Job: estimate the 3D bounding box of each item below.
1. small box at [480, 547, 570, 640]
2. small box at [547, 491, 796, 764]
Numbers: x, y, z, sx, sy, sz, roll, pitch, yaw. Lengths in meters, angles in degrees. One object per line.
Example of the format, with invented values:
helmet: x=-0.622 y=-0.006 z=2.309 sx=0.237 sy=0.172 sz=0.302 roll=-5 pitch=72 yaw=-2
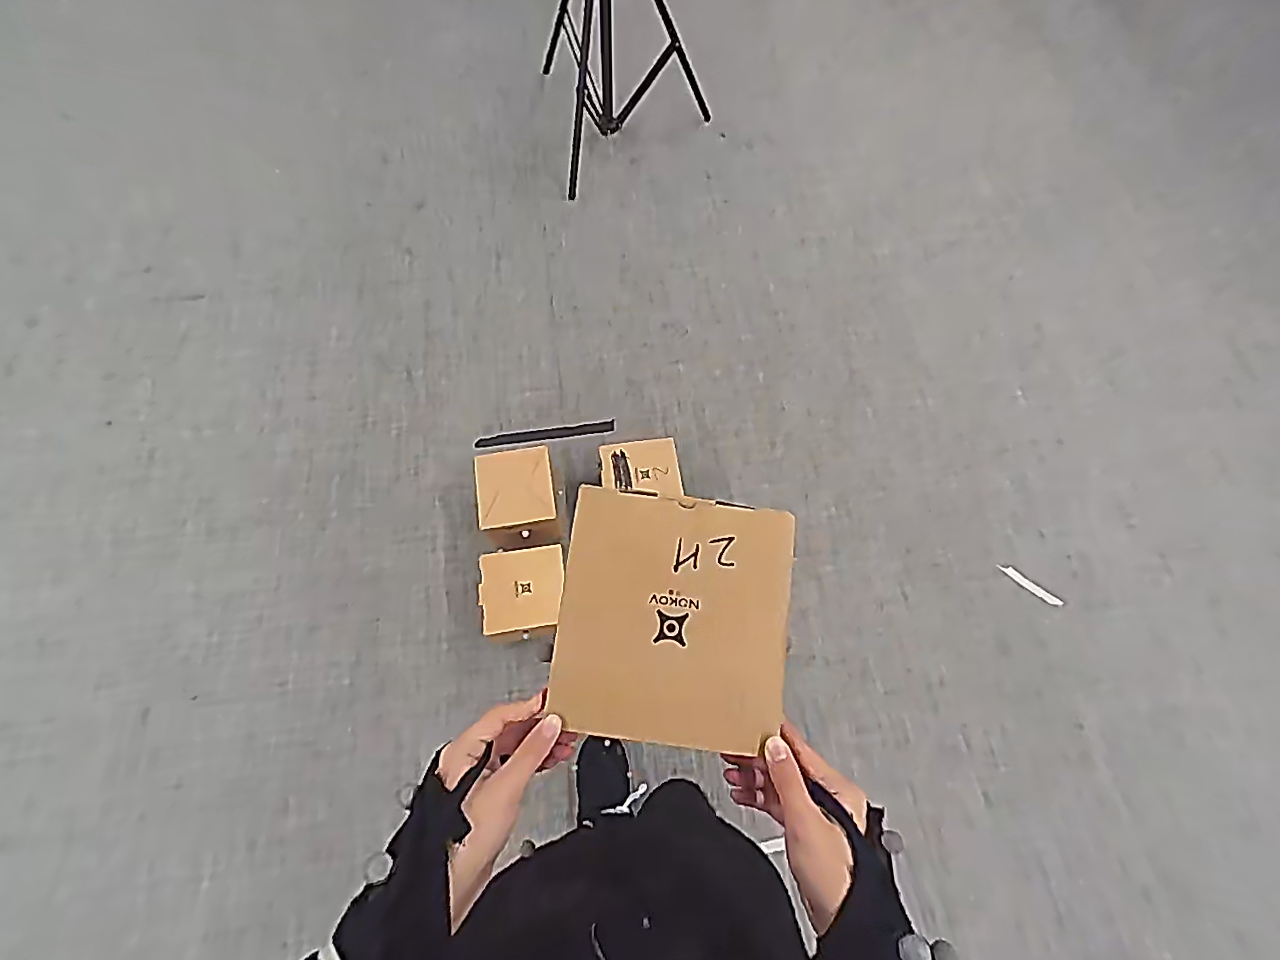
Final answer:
small box: x=-0.243 y=0.255 z=1.193 sx=0.179 sy=0.176 sz=0.168 roll=-8 pitch=70 yaw=-4
small box: x=0.026 y=0.119 z=0.471 sx=0.168 sy=0.176 sz=0.179 roll=7 pitch=78 yaw=1
